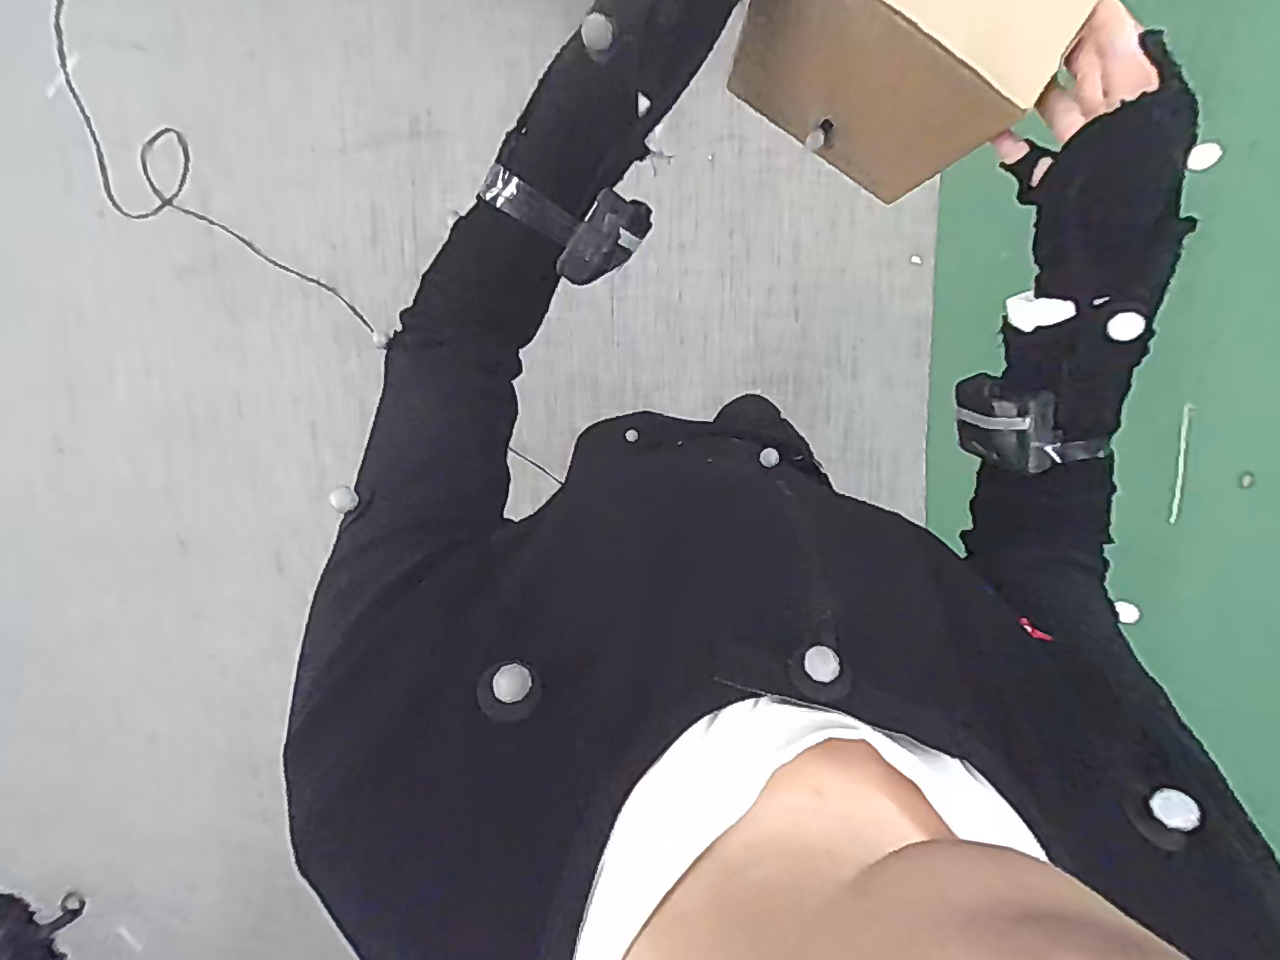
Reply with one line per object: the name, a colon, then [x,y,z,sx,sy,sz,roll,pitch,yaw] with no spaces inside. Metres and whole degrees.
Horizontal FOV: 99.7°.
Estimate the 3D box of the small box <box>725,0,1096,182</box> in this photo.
small box: [0.182,-0.335,0.362,0.179,0.176,0.168,30,97,-7]
